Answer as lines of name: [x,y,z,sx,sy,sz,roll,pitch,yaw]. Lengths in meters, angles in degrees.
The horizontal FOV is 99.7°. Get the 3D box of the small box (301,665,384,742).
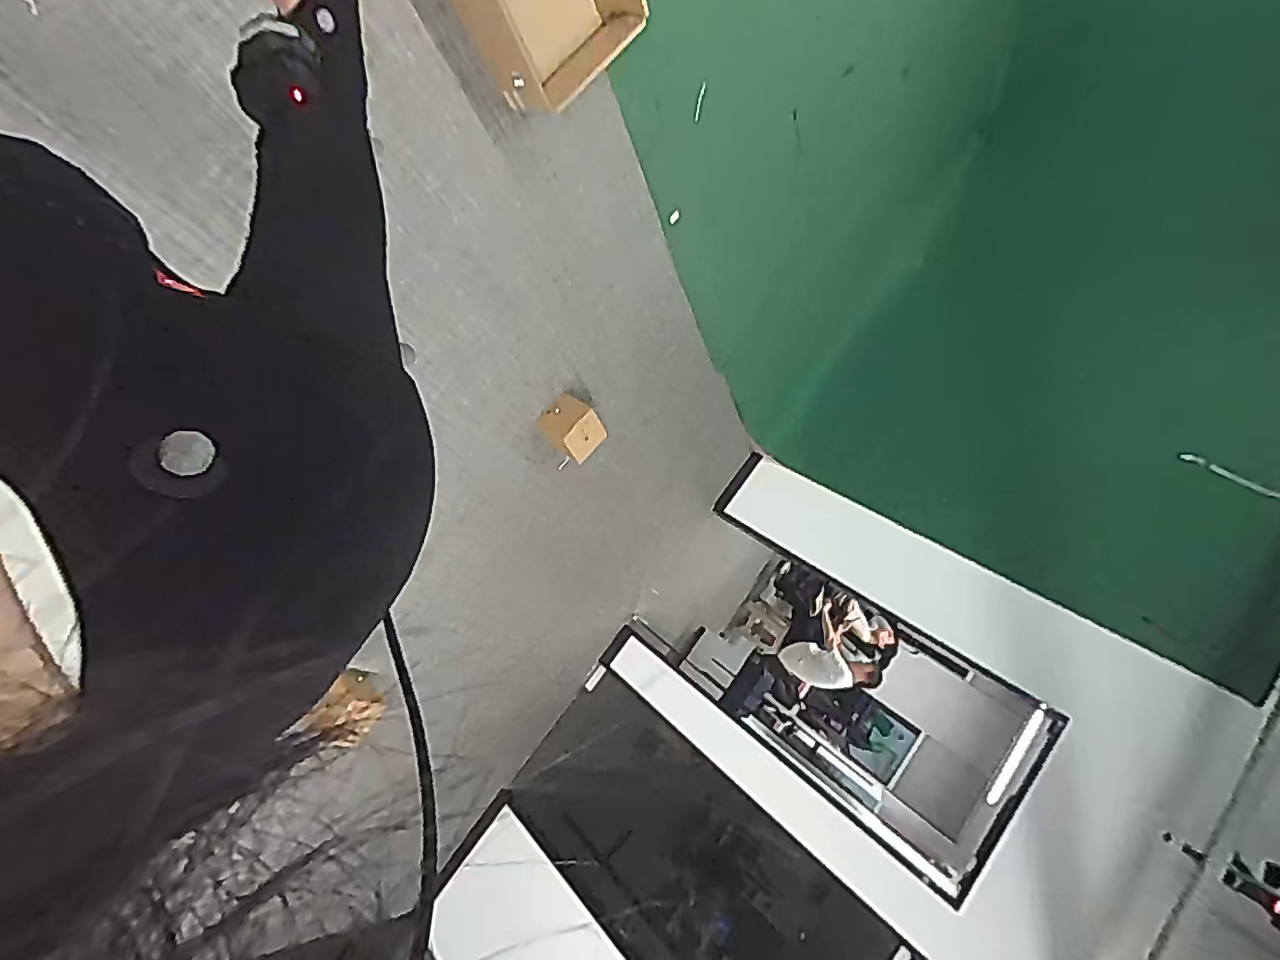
small box: [-1.051,0.785,1.897,0.179,0.176,0.168,-52,147,-10]

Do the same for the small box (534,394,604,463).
small box: [-0.274,-0.202,2.084,0.168,0.176,0.179,-49,147,-14]
